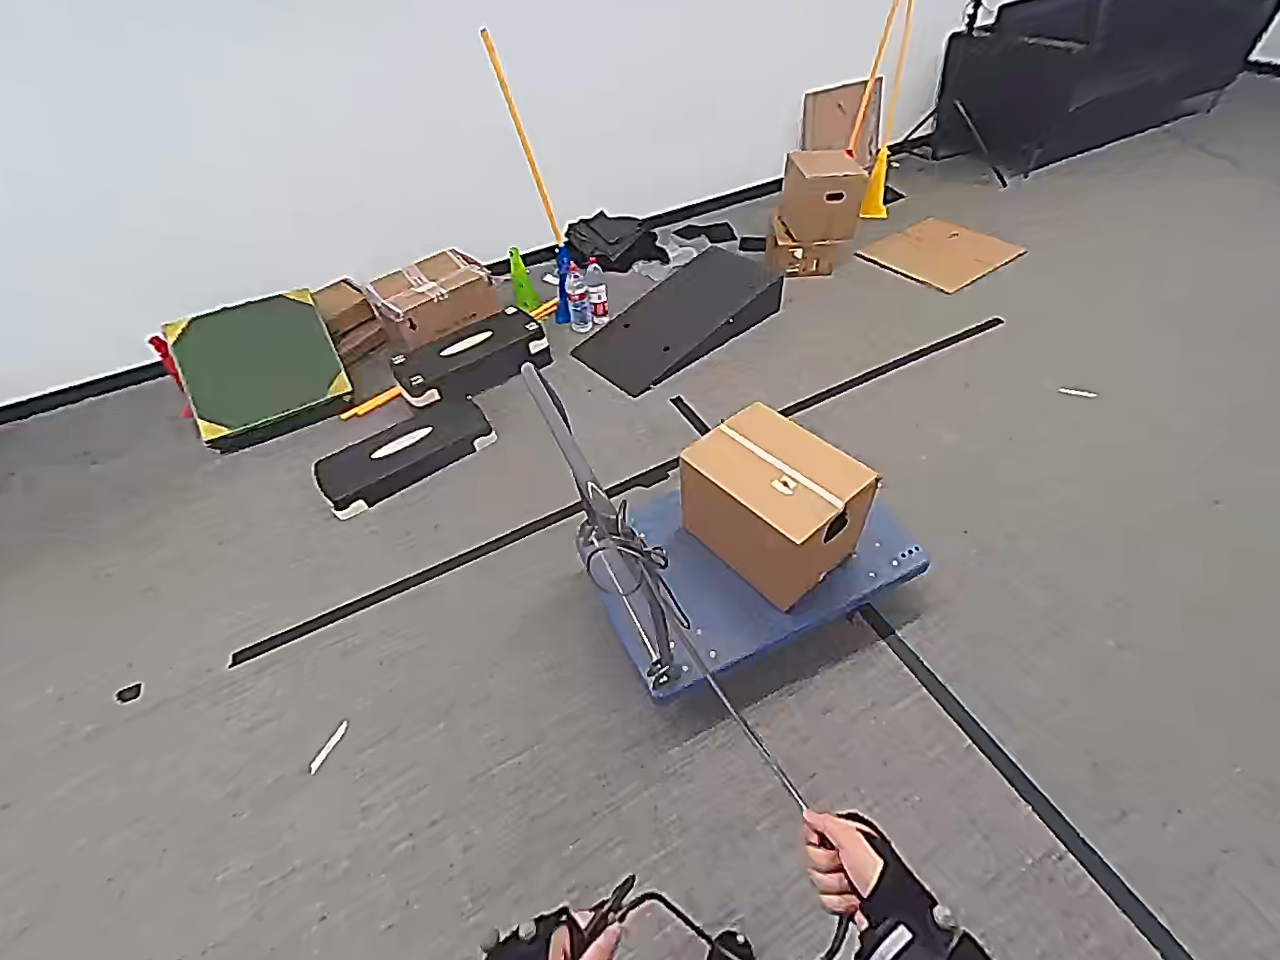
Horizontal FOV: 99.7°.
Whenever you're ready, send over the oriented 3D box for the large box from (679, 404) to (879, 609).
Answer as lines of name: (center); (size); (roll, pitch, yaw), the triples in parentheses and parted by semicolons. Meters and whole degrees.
large box: (0.351, 0.064, 1.473); (0.320, 0.320, 0.408); (-35, 54, -22)
